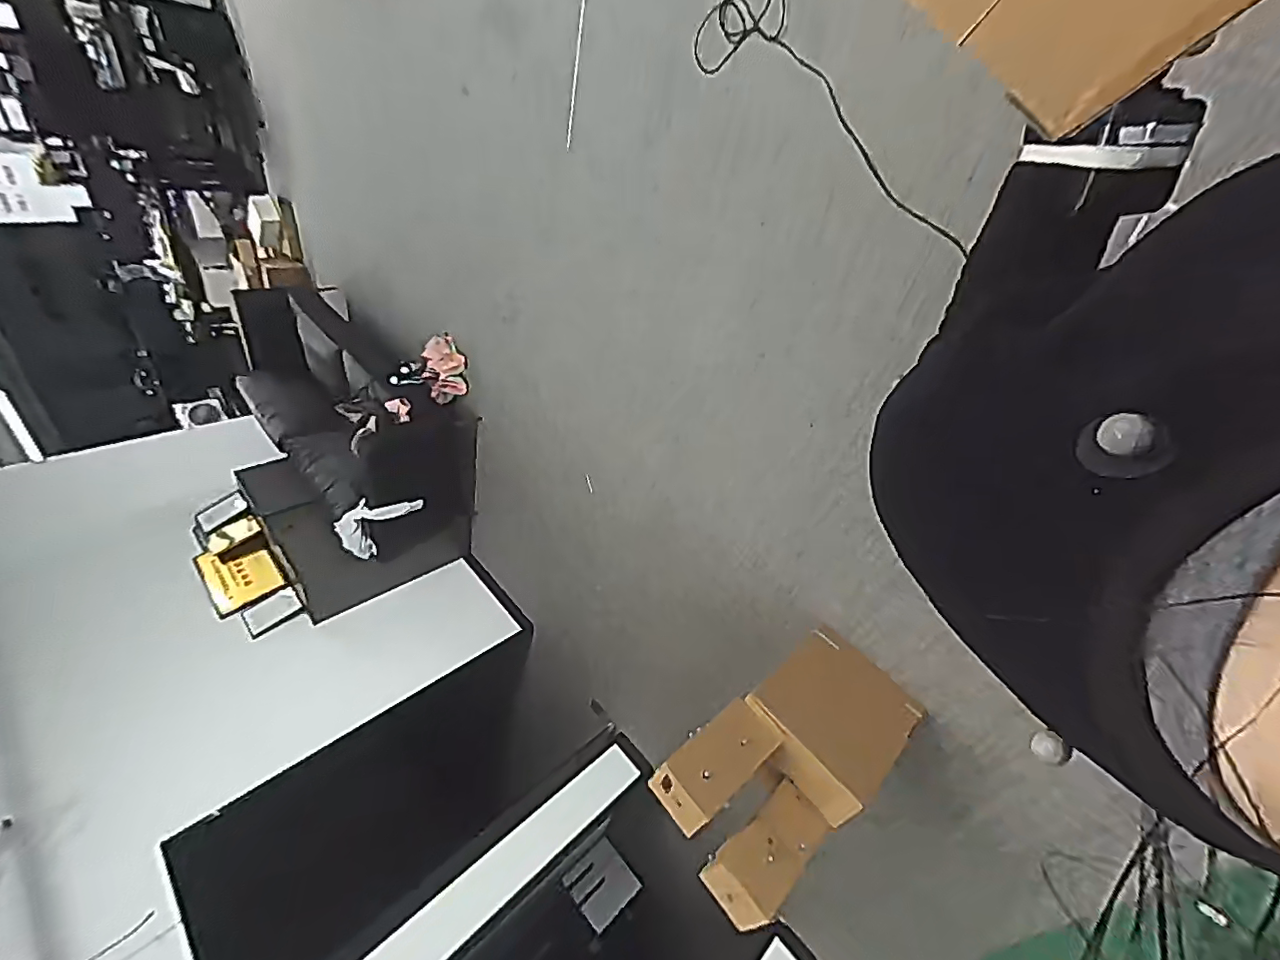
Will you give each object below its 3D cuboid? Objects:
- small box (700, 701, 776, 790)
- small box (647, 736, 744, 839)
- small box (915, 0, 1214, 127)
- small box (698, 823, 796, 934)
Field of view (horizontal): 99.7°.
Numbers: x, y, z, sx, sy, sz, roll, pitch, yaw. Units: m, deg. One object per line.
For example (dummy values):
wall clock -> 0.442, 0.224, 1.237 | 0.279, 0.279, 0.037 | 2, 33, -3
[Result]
small box -> 0.276, 0.807, 1.621 | 0.179, 0.176, 0.168 | 43, 133, 25
small box -> 0.156, 0.853, 1.519 | 0.179, 0.176, 0.168 | 45, 135, 25
small box -> 0.184, -0.273, 0.160 | 0.168, 0.179, 0.176 | 38, 171, -6
small box -> 0.295, 1.086, 1.479 | 0.168, 0.176, 0.179 | 45, 135, 23
